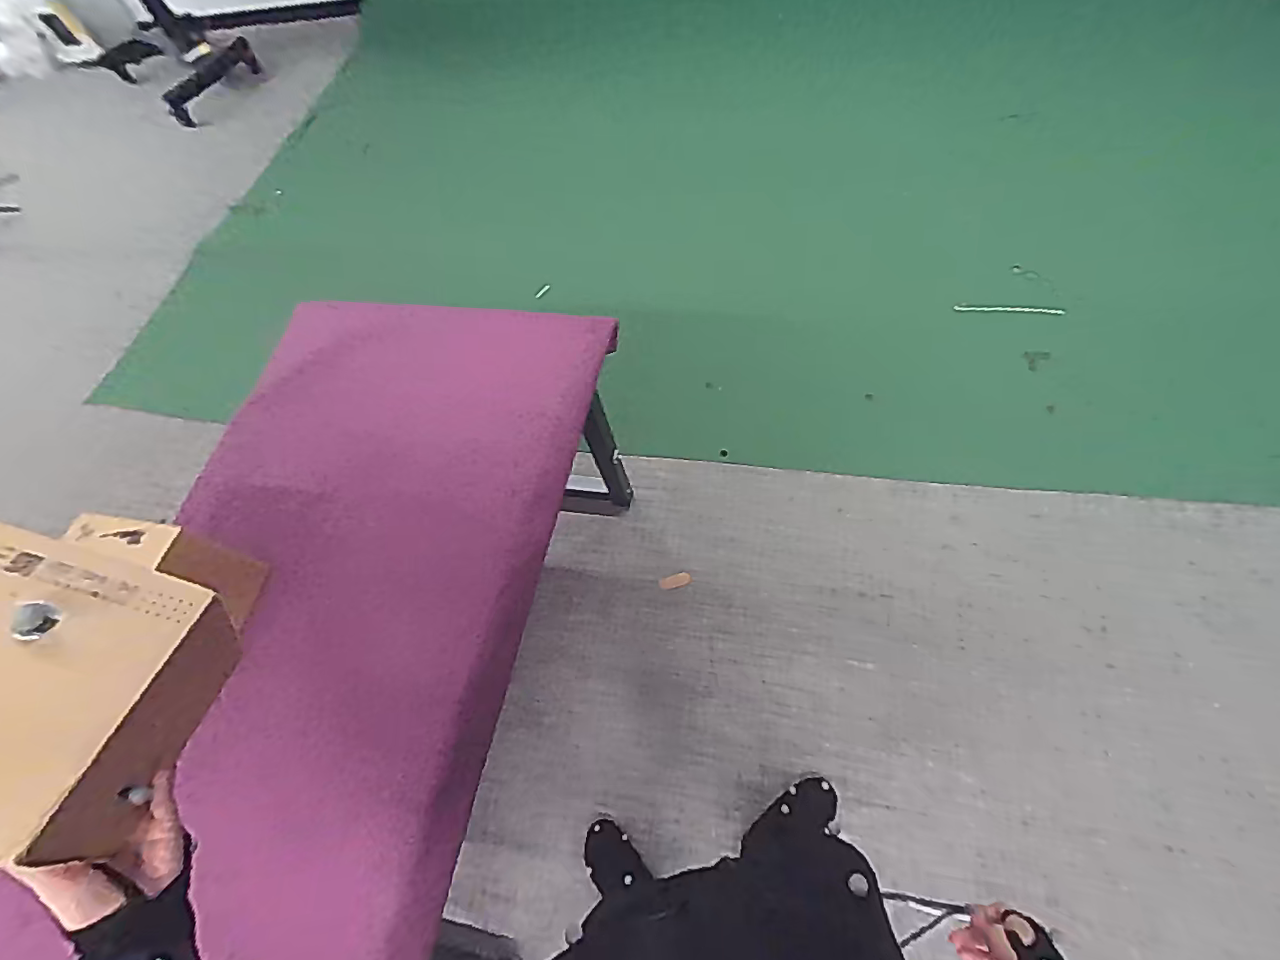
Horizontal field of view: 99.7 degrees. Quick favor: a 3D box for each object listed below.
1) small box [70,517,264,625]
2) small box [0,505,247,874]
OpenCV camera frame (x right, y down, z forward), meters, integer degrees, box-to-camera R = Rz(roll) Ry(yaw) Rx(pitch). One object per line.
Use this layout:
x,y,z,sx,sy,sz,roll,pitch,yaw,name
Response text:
-0.675,0.170,0.746,0.168,0.176,0.179,7,65,10,small box
-0.409,0.145,0.373,0.168,0.179,0.176,25,52,-14,small box
